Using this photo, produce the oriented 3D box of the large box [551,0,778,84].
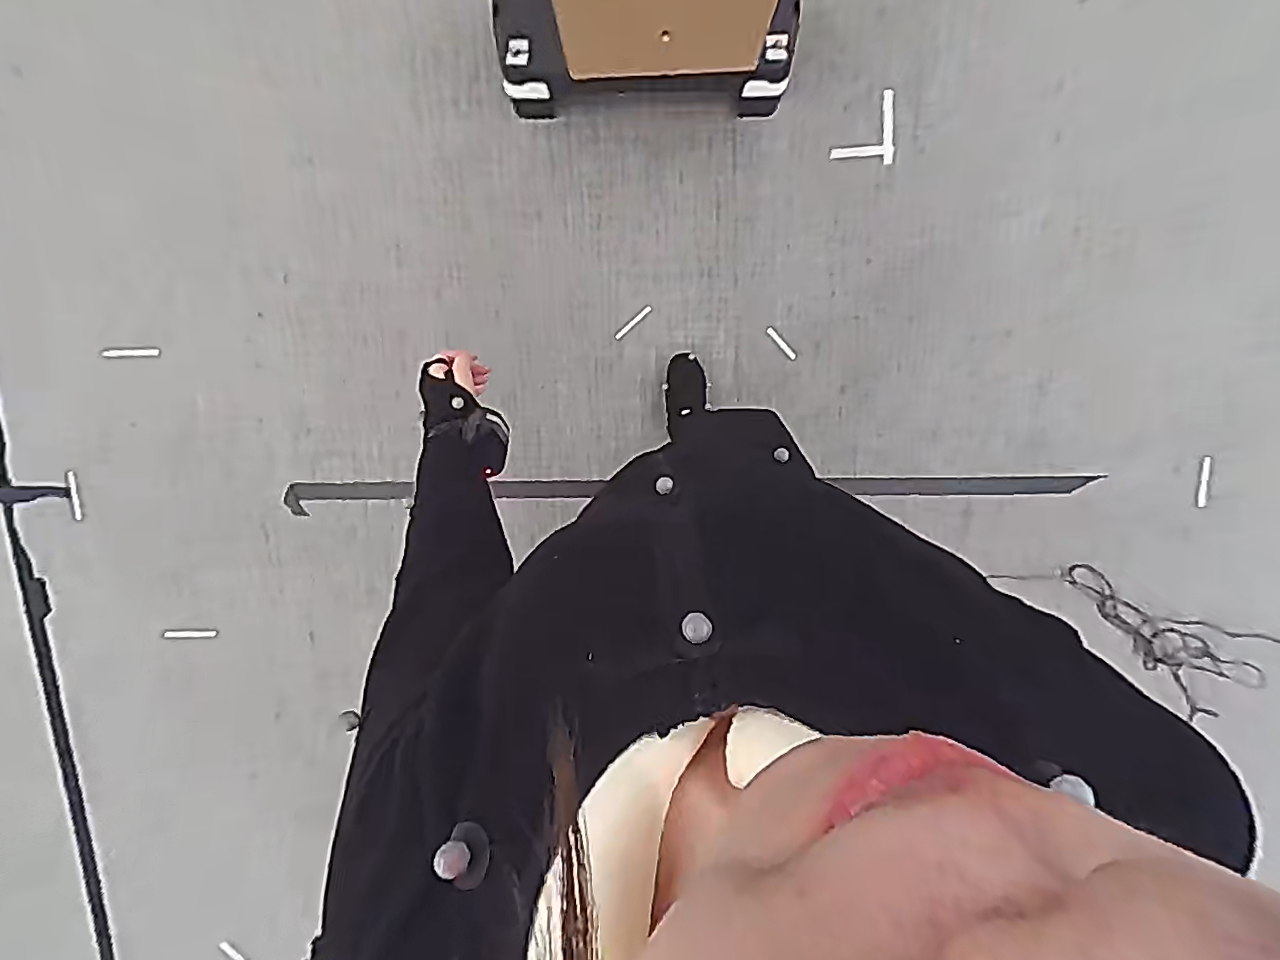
[{"bbox_3d":[0.041,-0.999,1.005,0.408,0.320,0.320,-2,98,2],"label":"large box"}]
